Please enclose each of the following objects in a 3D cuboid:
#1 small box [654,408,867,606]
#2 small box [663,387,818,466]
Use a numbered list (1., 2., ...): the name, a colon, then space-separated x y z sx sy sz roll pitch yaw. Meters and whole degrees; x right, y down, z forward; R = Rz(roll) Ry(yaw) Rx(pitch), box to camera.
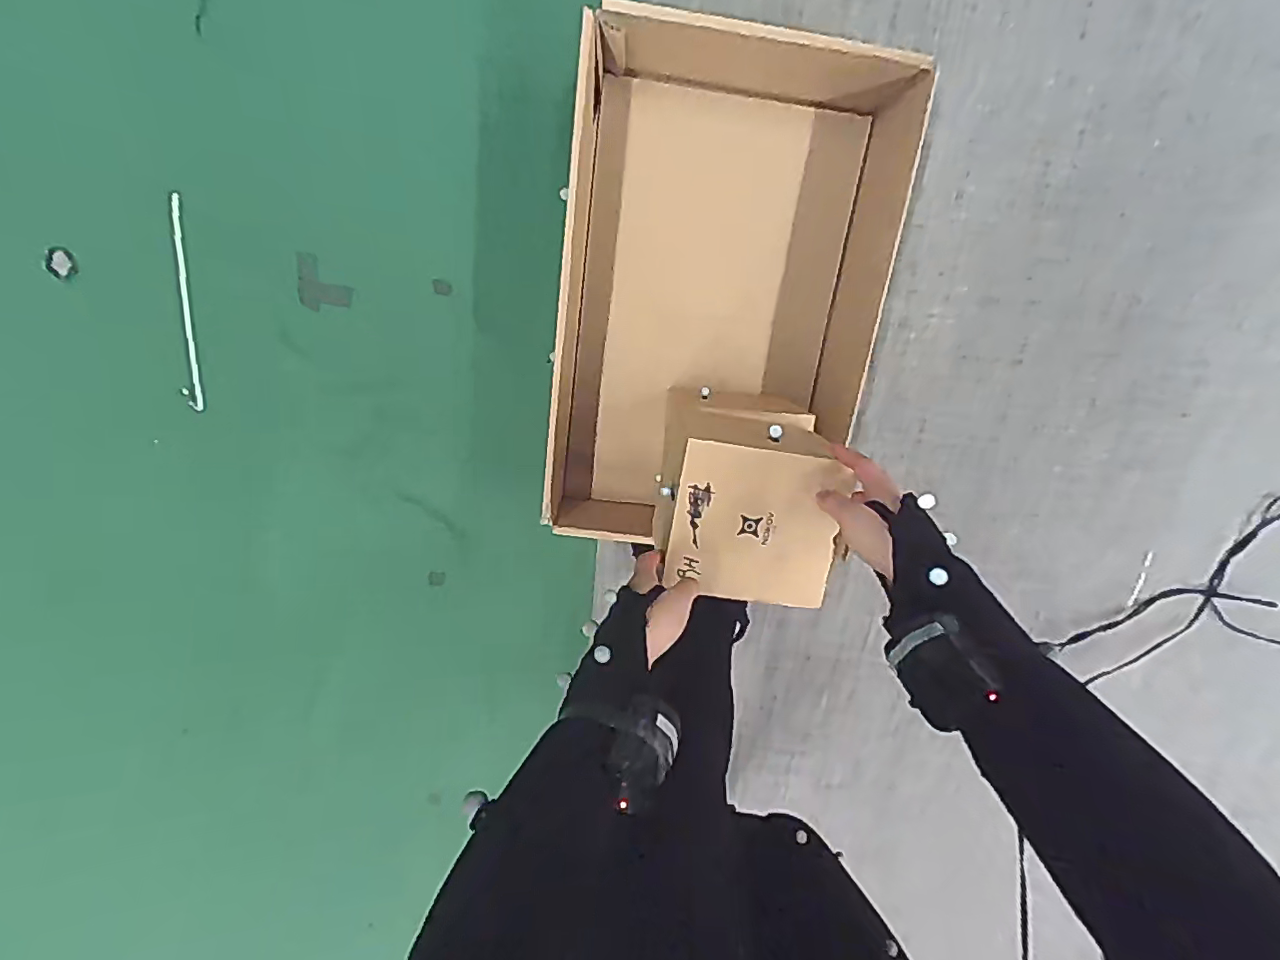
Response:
1. small box: 0.119 0.021 0.614 0.179 0.176 0.168 8 107 -5
2. small box: 0.127 -0.036 0.768 0.179 0.176 0.168 3 107 -4
